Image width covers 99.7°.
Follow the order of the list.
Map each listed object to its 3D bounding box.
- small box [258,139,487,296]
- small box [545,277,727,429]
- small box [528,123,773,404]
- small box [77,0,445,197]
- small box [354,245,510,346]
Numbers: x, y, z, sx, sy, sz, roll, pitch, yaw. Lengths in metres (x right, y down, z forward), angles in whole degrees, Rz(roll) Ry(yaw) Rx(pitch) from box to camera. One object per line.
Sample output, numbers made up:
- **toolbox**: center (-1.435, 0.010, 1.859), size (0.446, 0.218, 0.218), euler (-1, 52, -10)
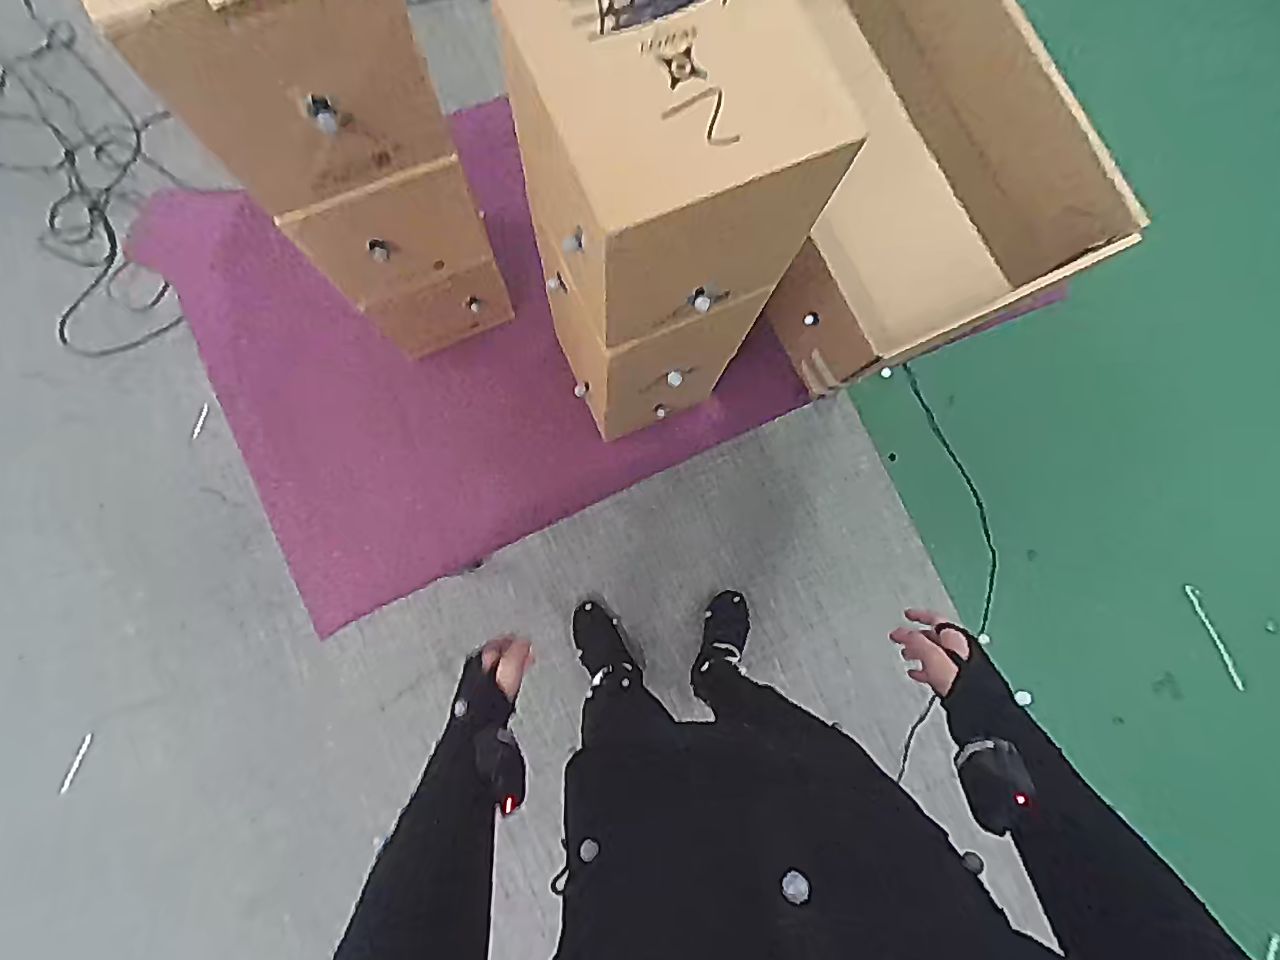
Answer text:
- **small box**: center (-0.275, -0.313, 0.550), size (0.168, 0.176, 0.179), euler (-25, 84, -7)
- **small box**: center (-0.008, -0.179, 0.709), size (0.168, 0.176, 0.179), euler (-24, 84, -7)
- **small box**: center (0.003, -0.202, 0.547), size (0.168, 0.176, 0.179), euler (-24, 84, -6)
- **small box**: center (-0.266, -0.340, 0.388), size (0.168, 0.176, 0.179), euler (-26, 85, -7)
- **small box**: center (-0.286, -0.296, 0.711), size (0.168, 0.176, 0.179), euler (-25, 84, -7)
